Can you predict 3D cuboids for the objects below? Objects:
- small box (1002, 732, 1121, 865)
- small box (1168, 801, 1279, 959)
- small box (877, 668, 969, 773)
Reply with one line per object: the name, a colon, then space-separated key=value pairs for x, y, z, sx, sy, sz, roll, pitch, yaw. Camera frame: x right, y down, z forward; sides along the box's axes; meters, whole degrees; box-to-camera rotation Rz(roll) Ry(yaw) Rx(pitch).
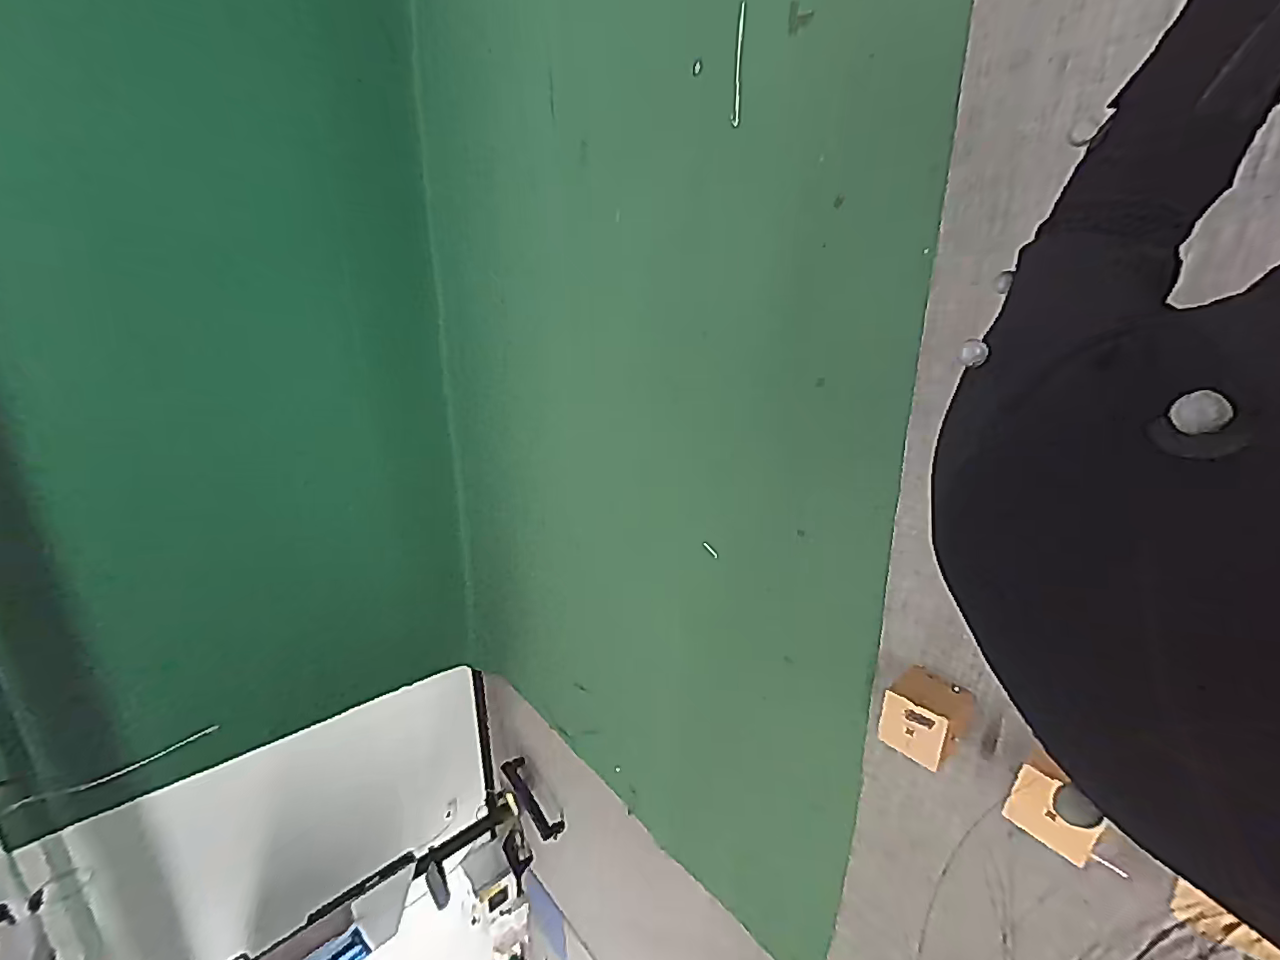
small box: x=1.003 y=0.747 z=1.285 sx=0.168 sy=0.176 sz=0.179 roll=26 pitch=119 yaw=43
small box: x=1.191 y=0.797 z=1.076 sx=0.168 sy=0.176 sz=0.179 roll=13 pitch=109 yaw=46
small box: x=0.793 y=0.659 z=1.509 sx=0.168 sy=0.176 sz=0.179 roll=20 pitch=116 yaw=46
